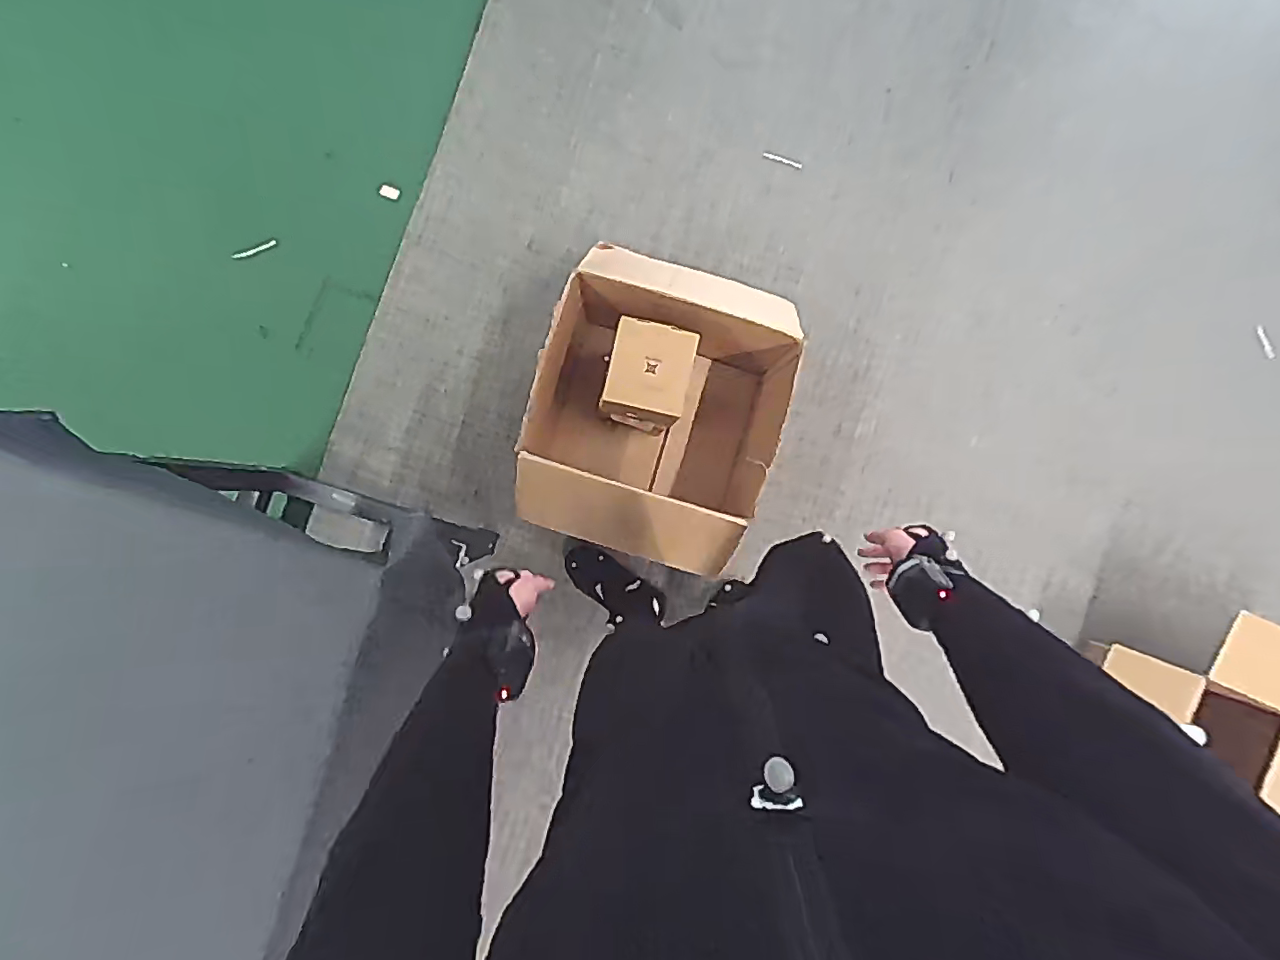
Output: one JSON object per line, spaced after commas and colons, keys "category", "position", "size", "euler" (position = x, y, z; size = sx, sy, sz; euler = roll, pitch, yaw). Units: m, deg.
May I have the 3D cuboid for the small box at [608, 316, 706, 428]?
{"category": "small box", "position": [0.027, -0.220, 1.149], "size": [0.168, 0.176, 0.179], "euler": [13, 88, -4]}
